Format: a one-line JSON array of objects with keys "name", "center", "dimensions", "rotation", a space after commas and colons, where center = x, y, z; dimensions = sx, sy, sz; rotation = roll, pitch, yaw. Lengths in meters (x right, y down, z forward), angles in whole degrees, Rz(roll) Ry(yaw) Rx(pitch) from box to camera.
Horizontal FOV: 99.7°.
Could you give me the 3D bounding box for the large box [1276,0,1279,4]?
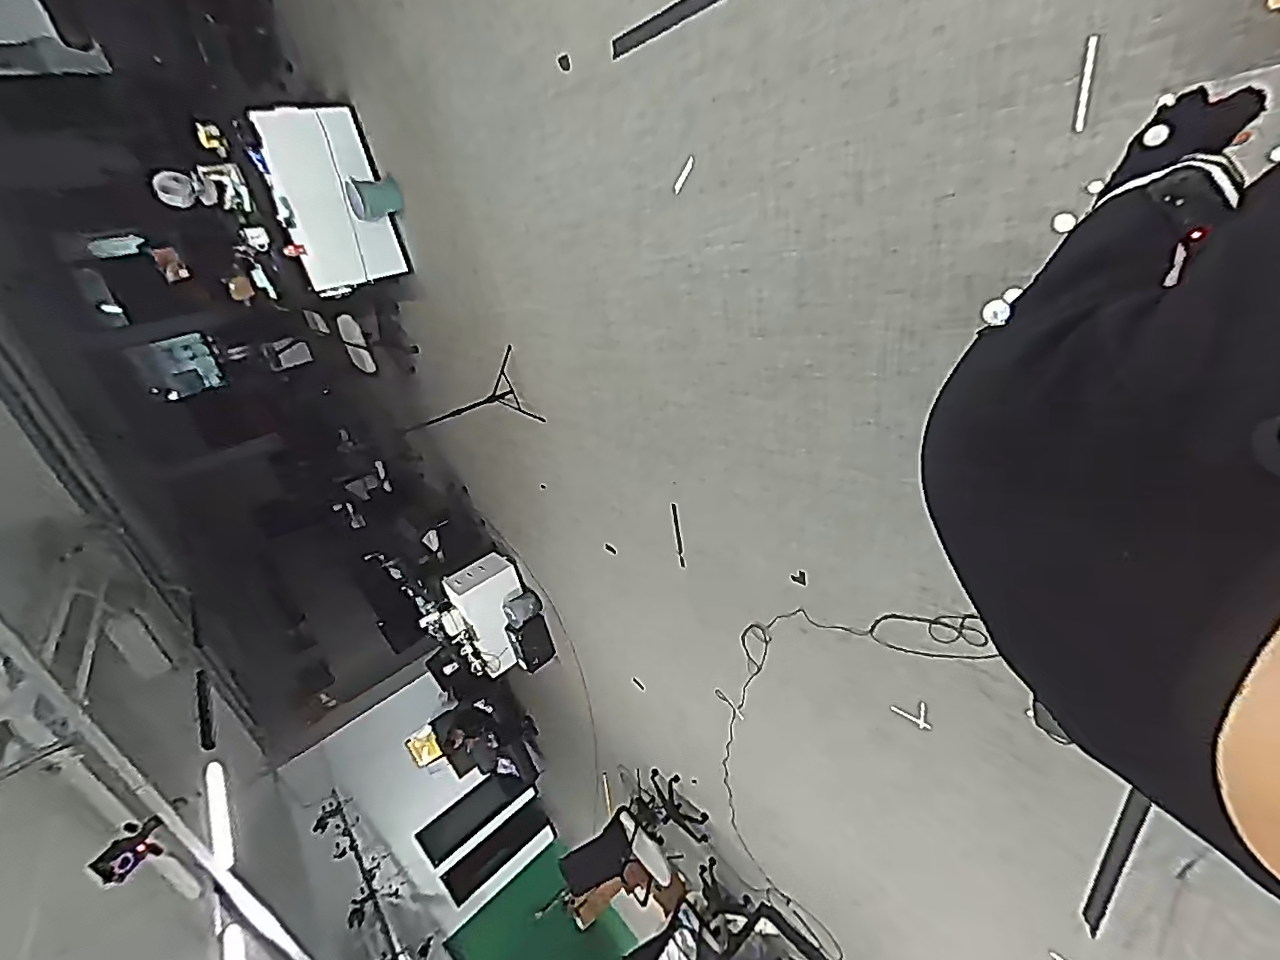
[{"name": "large box", "center": [0.995, -0.758, 0.553], "dimensions": [0.408, 0.320, 0.320], "rotation": [16, 128, 46]}]
